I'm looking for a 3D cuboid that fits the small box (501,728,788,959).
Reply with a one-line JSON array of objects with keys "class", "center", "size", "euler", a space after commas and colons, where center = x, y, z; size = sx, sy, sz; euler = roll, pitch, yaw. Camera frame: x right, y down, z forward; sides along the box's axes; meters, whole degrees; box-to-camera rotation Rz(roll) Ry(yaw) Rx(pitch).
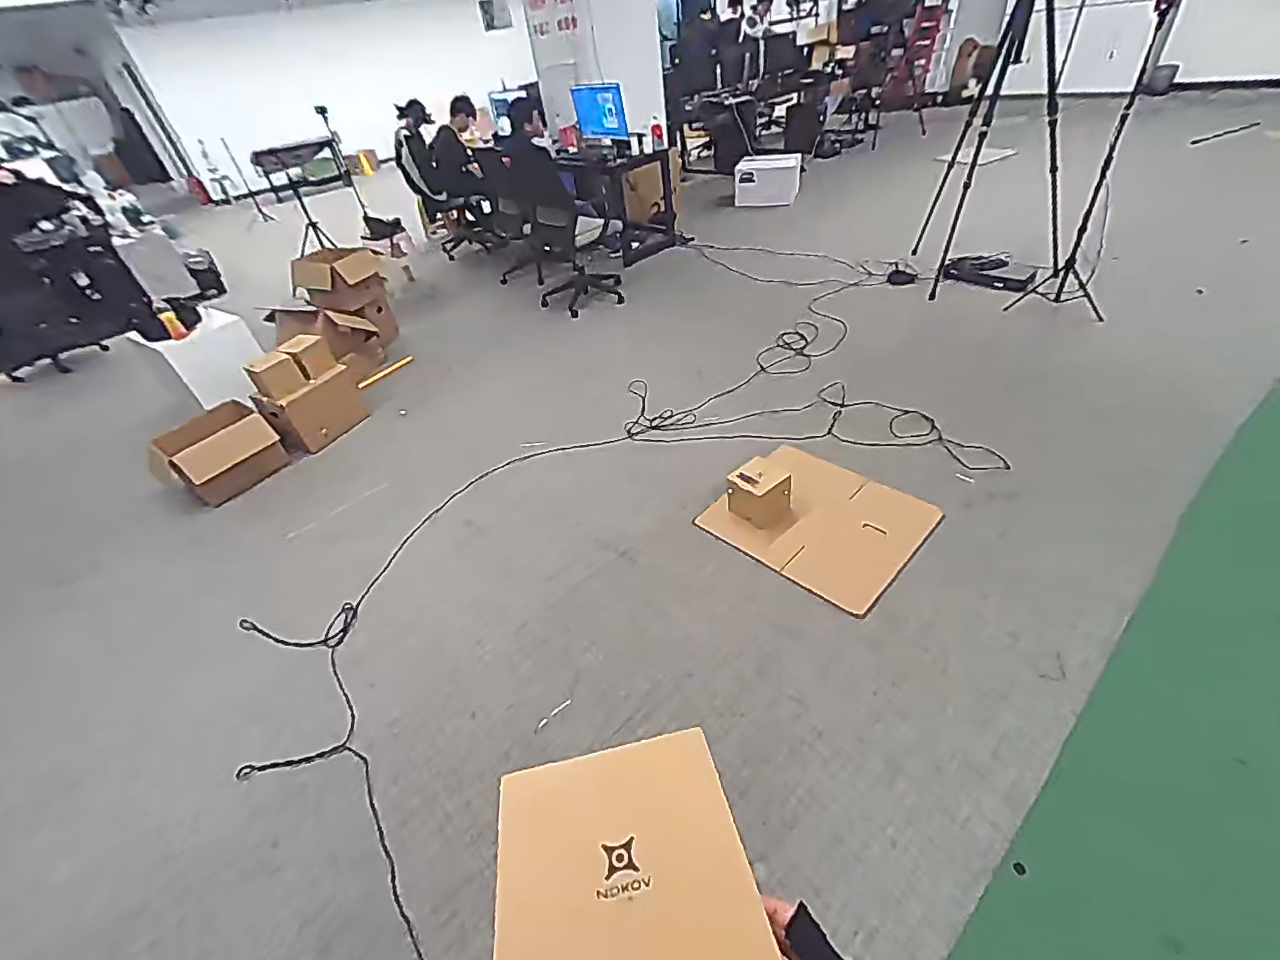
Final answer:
[{"class": "small box", "center": [-0.001, 0.325, 0.395], "size": [0.168, 0.176, 0.179], "euler": [-11, 28, -7]}]
